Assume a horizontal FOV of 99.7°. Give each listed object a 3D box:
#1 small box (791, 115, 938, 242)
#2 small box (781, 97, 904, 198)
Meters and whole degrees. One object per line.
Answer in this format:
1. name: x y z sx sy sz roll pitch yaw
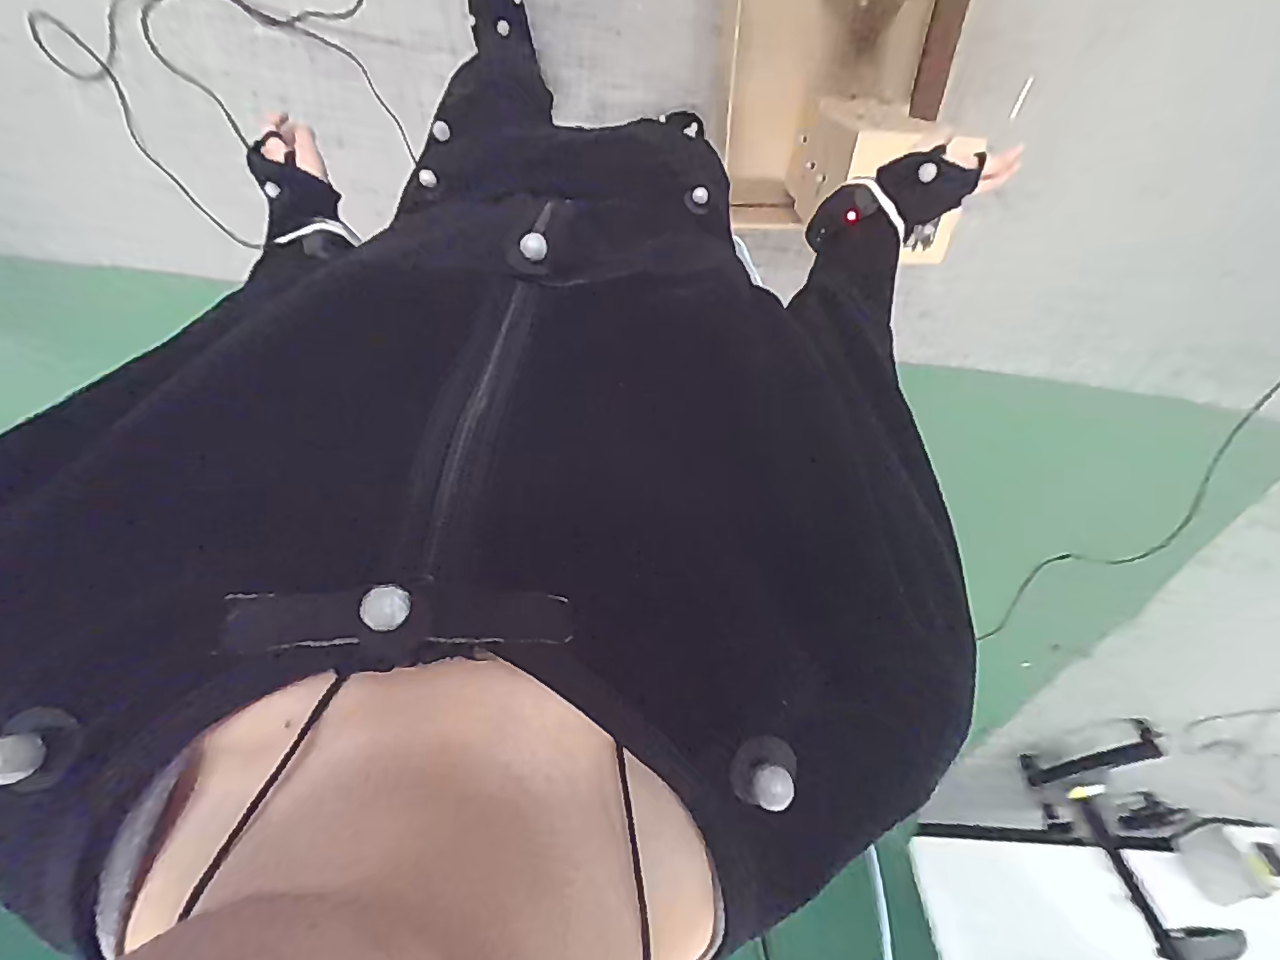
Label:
1. small box: 0.383 -0.541 0.964 0.179 0.176 0.168 5 129 -2
2. small box: 0.391 -0.654 1.084 0.168 0.176 0.179 5 128 -2
